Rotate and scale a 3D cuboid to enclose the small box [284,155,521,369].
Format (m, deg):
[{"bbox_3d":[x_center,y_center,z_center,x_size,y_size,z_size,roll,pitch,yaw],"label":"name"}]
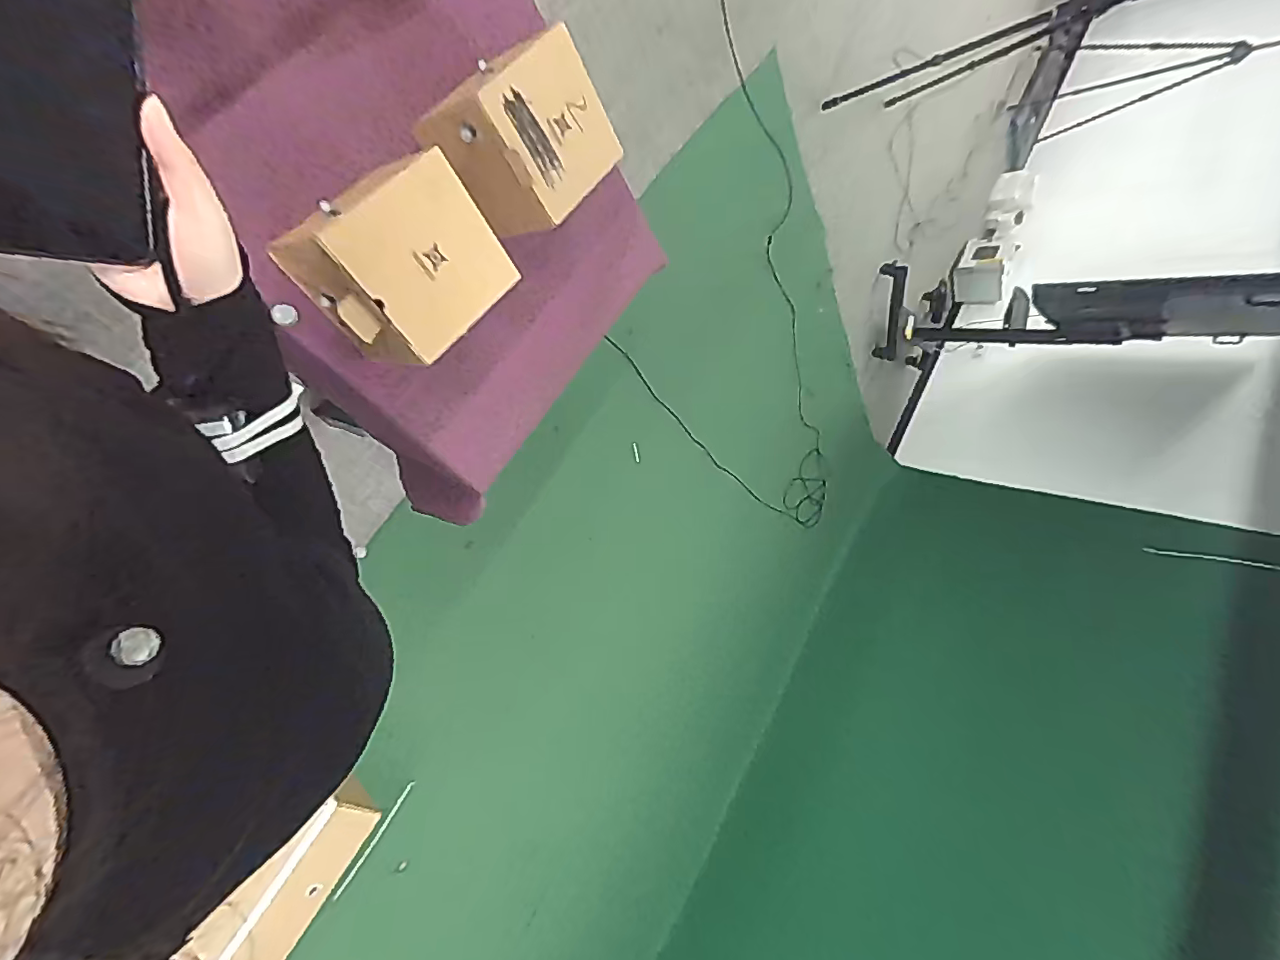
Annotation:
[{"bbox_3d":[-0.289,-0.260,0.662,0.179,0.176,0.168,-54,134,-22],"label":"small box"}]
